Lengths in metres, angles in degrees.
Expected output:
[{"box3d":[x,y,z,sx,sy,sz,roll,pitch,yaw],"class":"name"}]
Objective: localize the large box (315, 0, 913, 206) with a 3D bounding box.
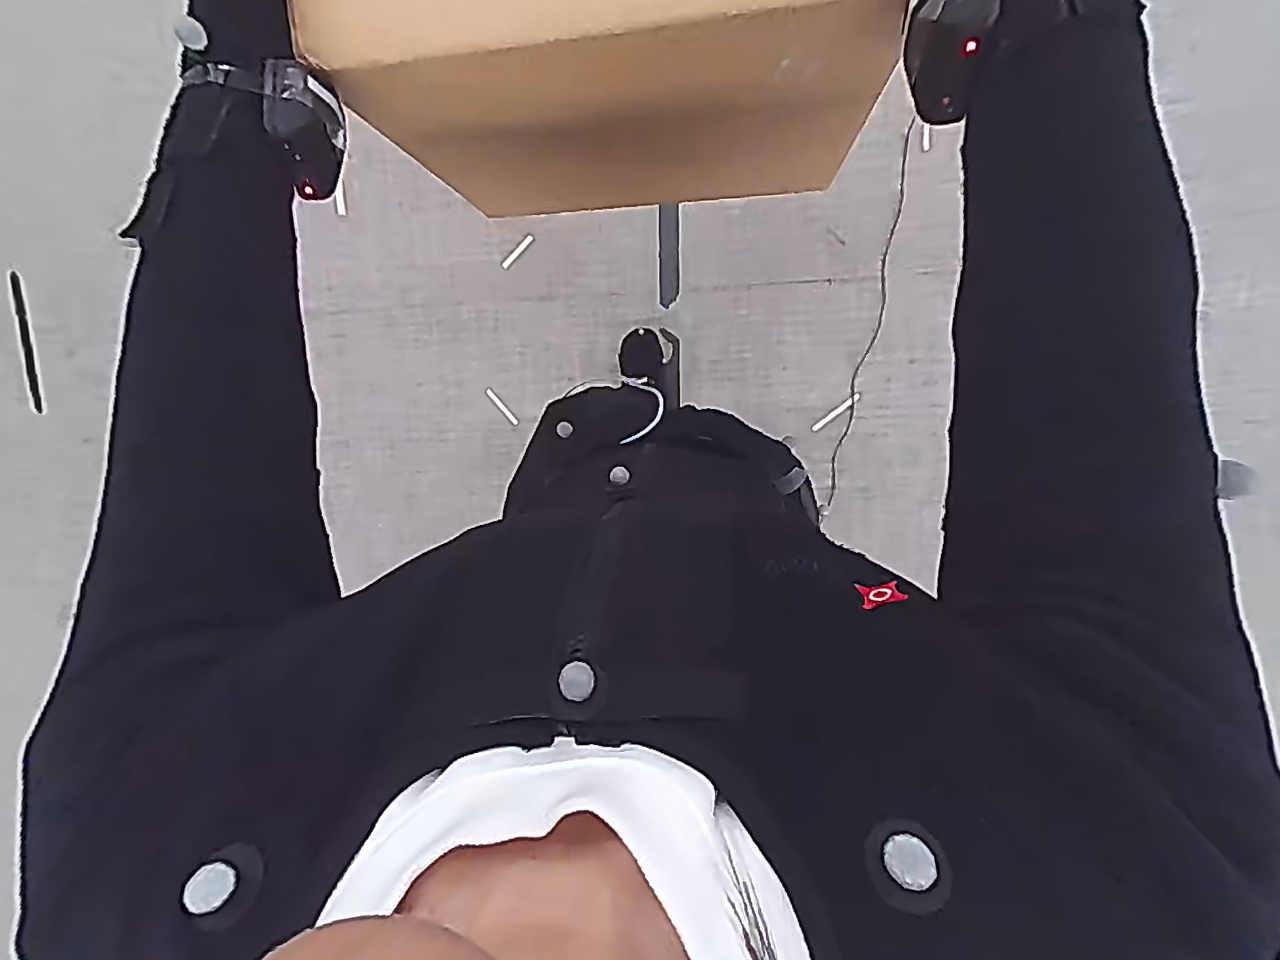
[{"box3d":[-0.012,-0.467,0.467,0.408,0.320,0.320,-2,99,7],"class":"large box"}]
